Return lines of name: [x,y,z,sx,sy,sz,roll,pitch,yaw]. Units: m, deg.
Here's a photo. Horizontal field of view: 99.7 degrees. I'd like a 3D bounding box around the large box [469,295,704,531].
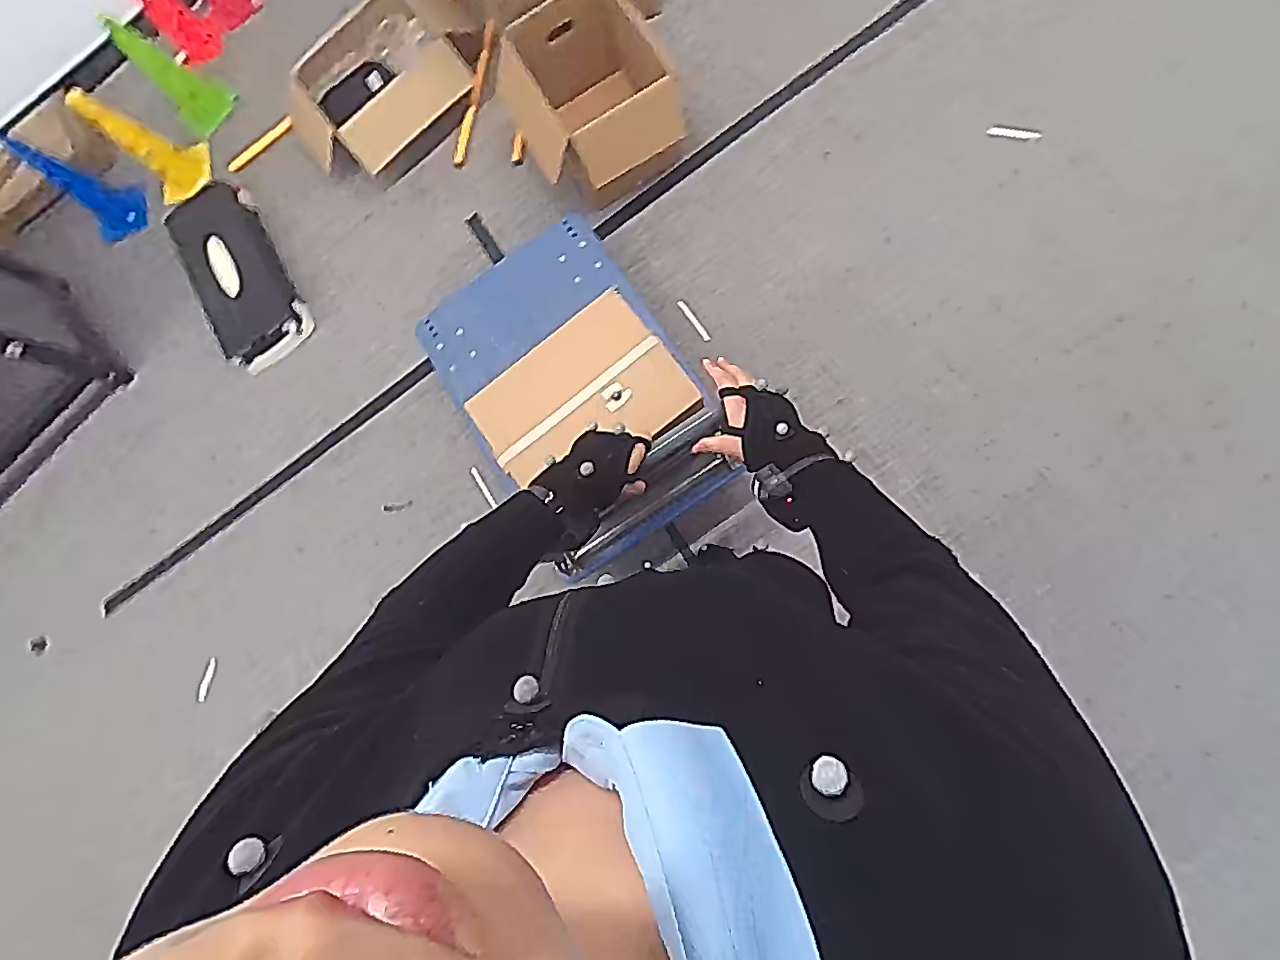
large box: [-0.101,-0.129,1.255,0.408,0.320,0.320,-38,78,1]
